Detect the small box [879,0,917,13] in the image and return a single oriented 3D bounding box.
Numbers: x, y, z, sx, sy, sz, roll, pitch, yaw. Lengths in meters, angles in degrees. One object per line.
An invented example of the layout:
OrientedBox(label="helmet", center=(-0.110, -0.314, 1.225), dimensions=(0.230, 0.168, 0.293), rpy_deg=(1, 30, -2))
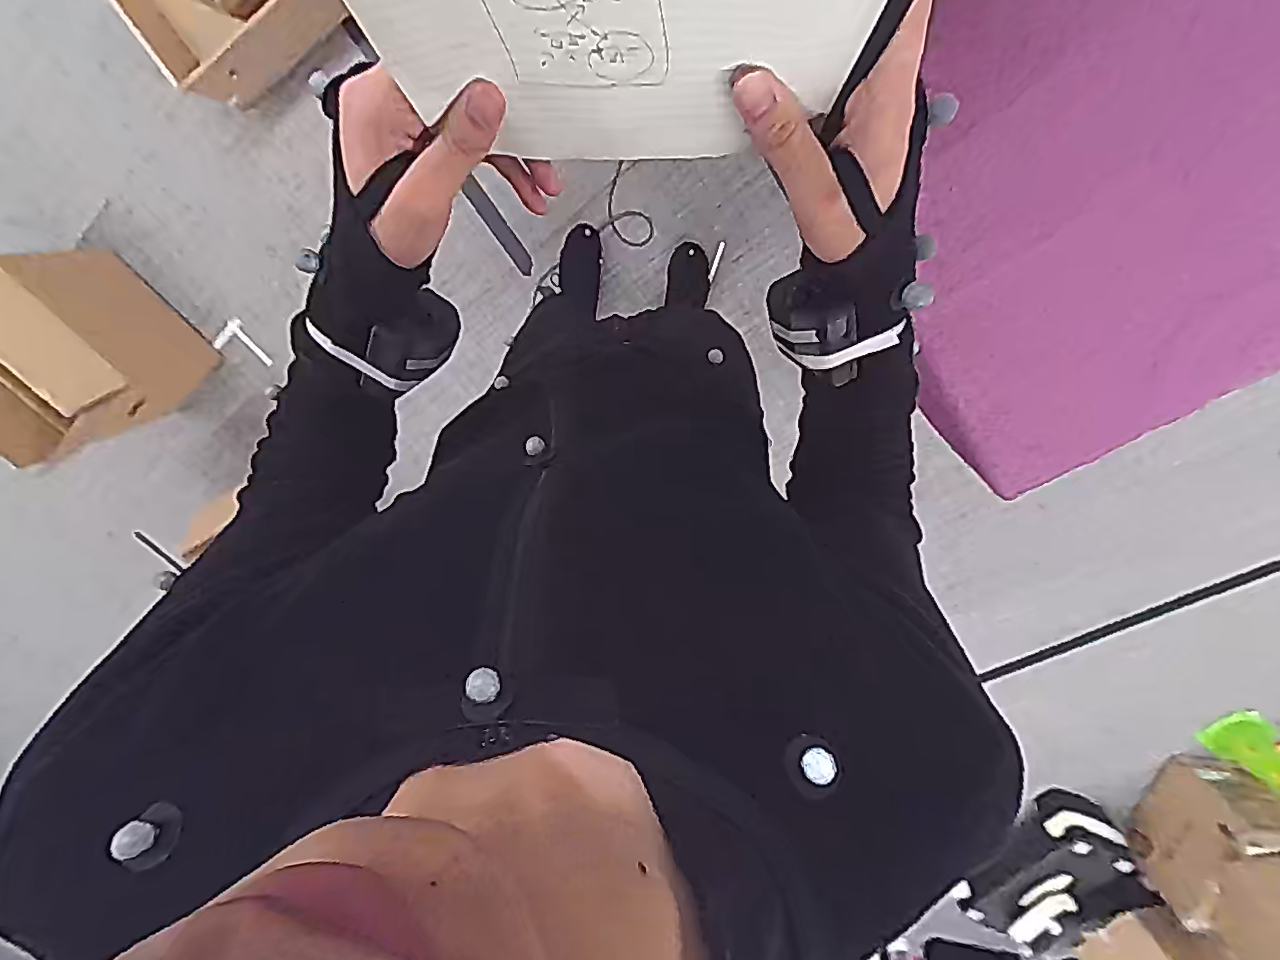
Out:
OrientedBox(label="small box", center=(0.284, -0.592, 0.493), dimensions=(0.168, 0.176, 0.179), rpy_deg=(-35, 108, 21))
